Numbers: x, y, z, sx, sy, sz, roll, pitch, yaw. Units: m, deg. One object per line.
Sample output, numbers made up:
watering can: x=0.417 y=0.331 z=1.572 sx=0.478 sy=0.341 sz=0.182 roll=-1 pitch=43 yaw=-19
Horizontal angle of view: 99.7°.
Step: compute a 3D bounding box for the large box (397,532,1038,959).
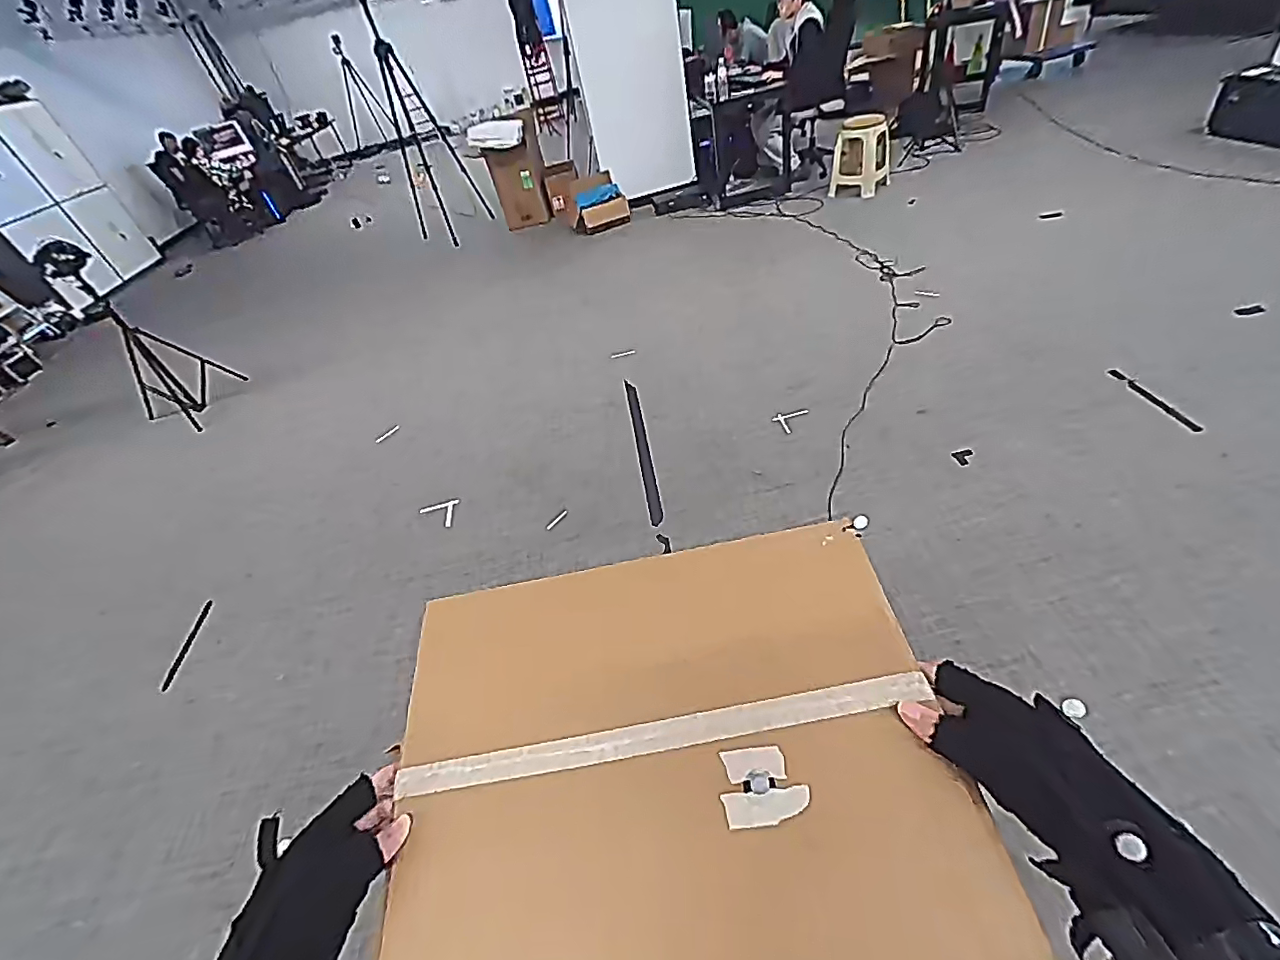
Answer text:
large box: x=0.043 y=0.298 z=0.527 sx=0.408 sy=0.320 sz=0.320 roll=-12 pitch=49 yaw=2
